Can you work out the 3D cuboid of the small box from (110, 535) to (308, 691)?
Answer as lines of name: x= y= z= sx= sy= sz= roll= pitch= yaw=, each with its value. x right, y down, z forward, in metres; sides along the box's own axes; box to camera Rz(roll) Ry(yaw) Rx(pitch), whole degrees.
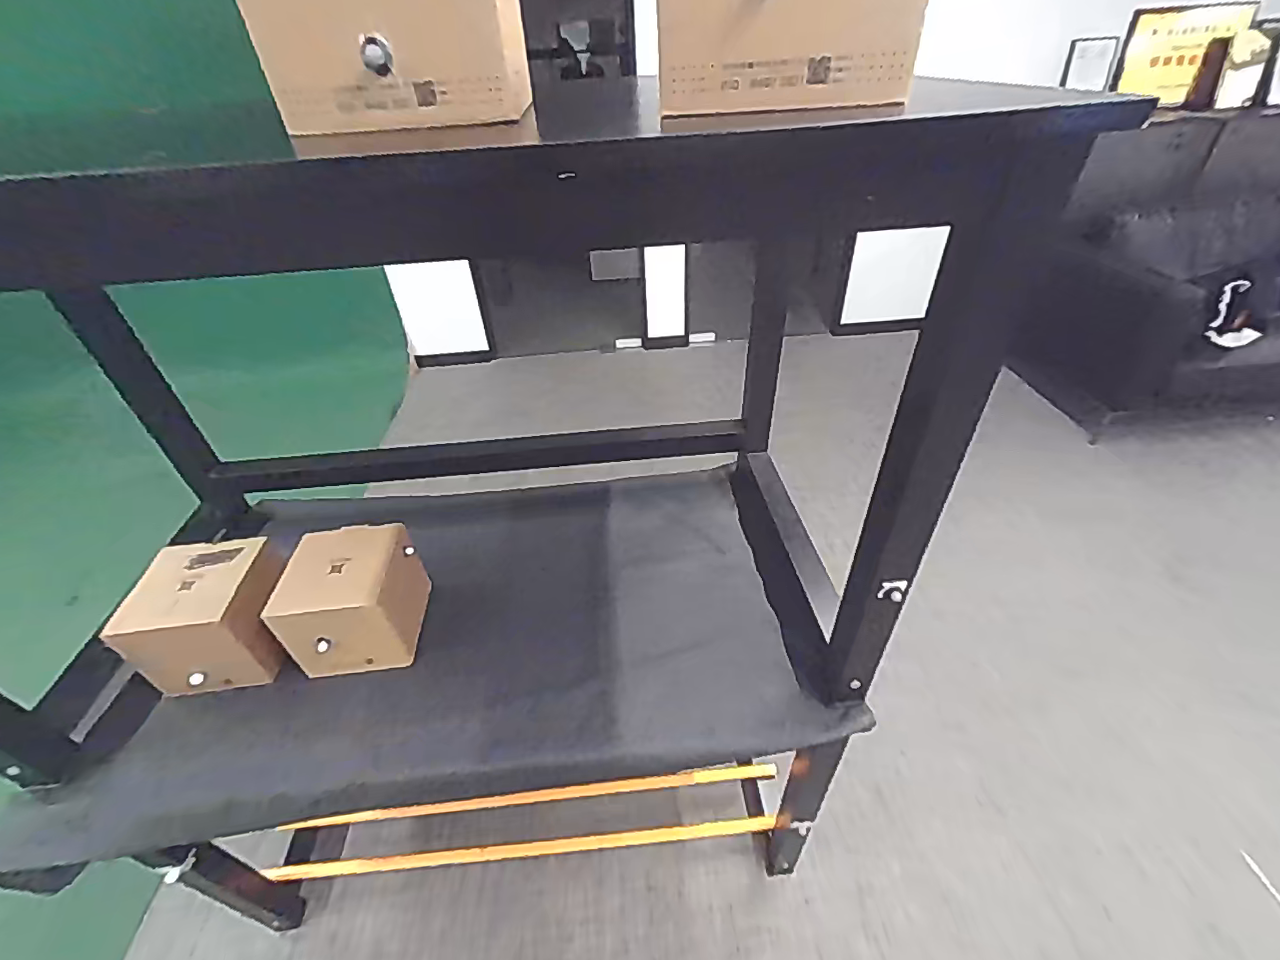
small box: x=-0.680 y=0.215 z=0.886 sx=0.168 sy=0.176 sz=0.179 roll=-7 pitch=39 yaw=-4

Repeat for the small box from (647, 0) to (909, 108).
small box: x=0.092 y=-0.368 z=0.379 sx=0.168 sy=0.176 sz=0.179 roll=1 pitch=39 yaw=6
